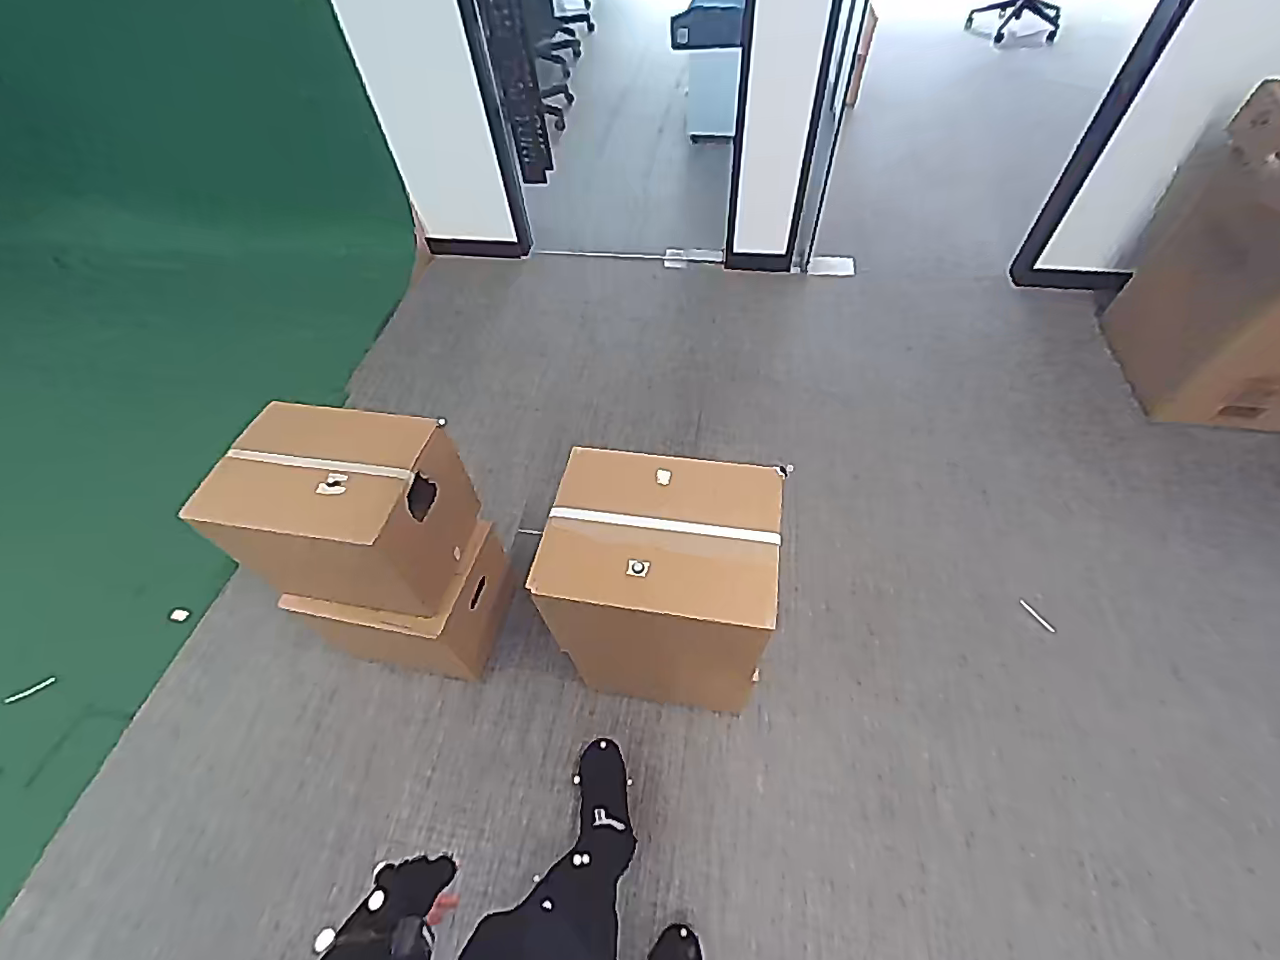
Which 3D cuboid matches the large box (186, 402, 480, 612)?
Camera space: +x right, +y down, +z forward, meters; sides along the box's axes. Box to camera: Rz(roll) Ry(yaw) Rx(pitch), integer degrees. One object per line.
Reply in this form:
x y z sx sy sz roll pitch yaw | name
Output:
-0.626 0.061 1.189 0.408 0.320 0.320 8 52 8 | large box
